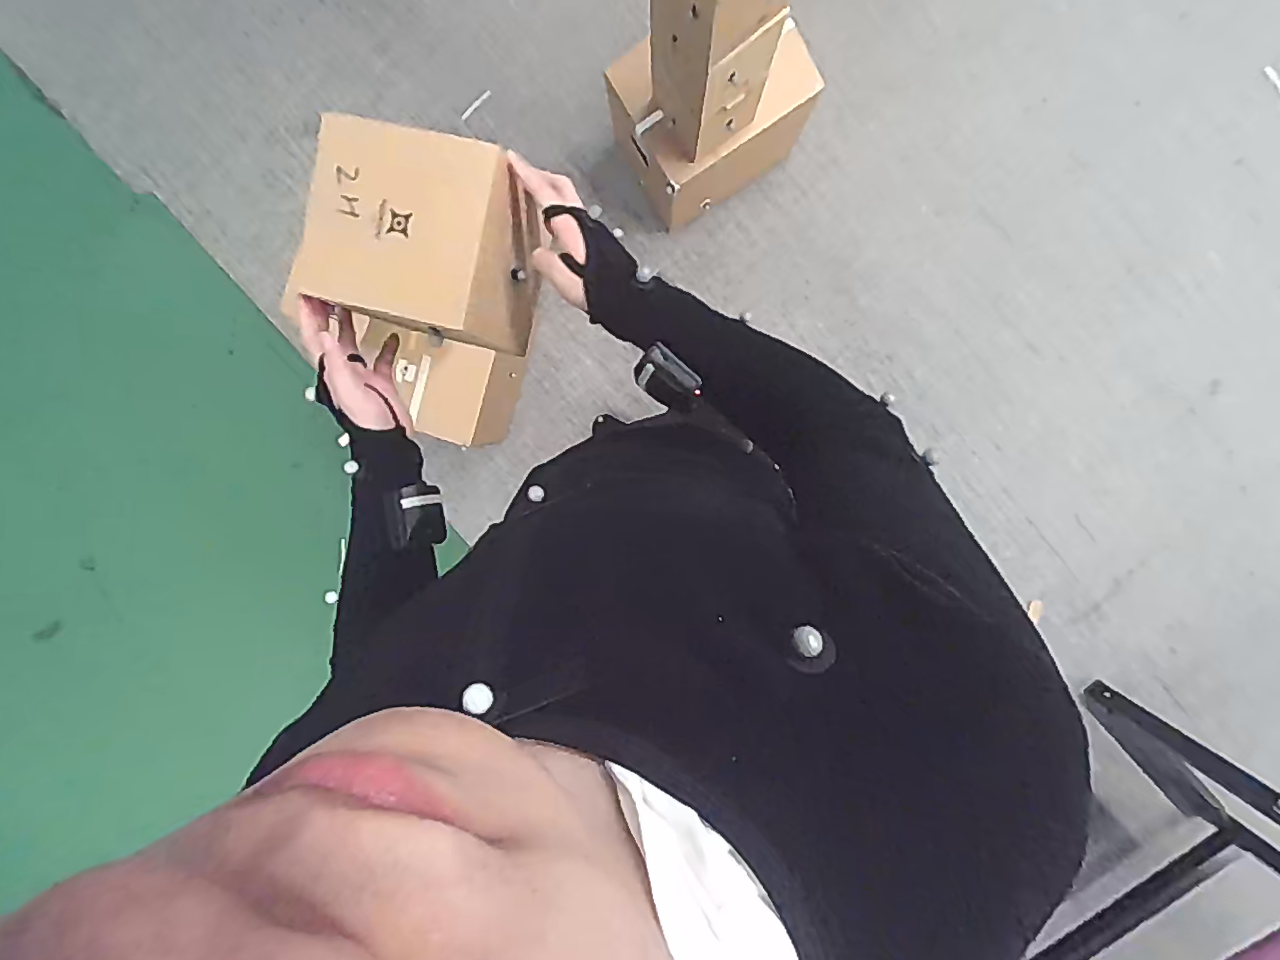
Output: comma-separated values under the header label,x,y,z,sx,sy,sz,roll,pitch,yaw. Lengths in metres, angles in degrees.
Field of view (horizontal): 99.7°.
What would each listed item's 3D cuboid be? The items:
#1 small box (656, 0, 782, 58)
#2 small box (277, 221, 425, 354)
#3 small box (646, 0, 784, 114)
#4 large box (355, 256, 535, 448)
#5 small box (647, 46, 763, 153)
label,x,y,z,sx,sy,sz,roll,pitch,yaw
small box,0.117,-0.785,0.805,0.168,0.176,0.179,-36,94,5
small box,-0.546,-0.359,1.046,0.168,0.176,0.179,24,97,-1
small box,0.128,-0.803,0.967,0.168,0.176,0.179,-35,94,6
large box,-0.505,-0.330,1.462,0.320,0.320,0.408,17,99,1
small box,0.130,-0.824,1.128,0.168,0.176,0.179,-35,96,5
